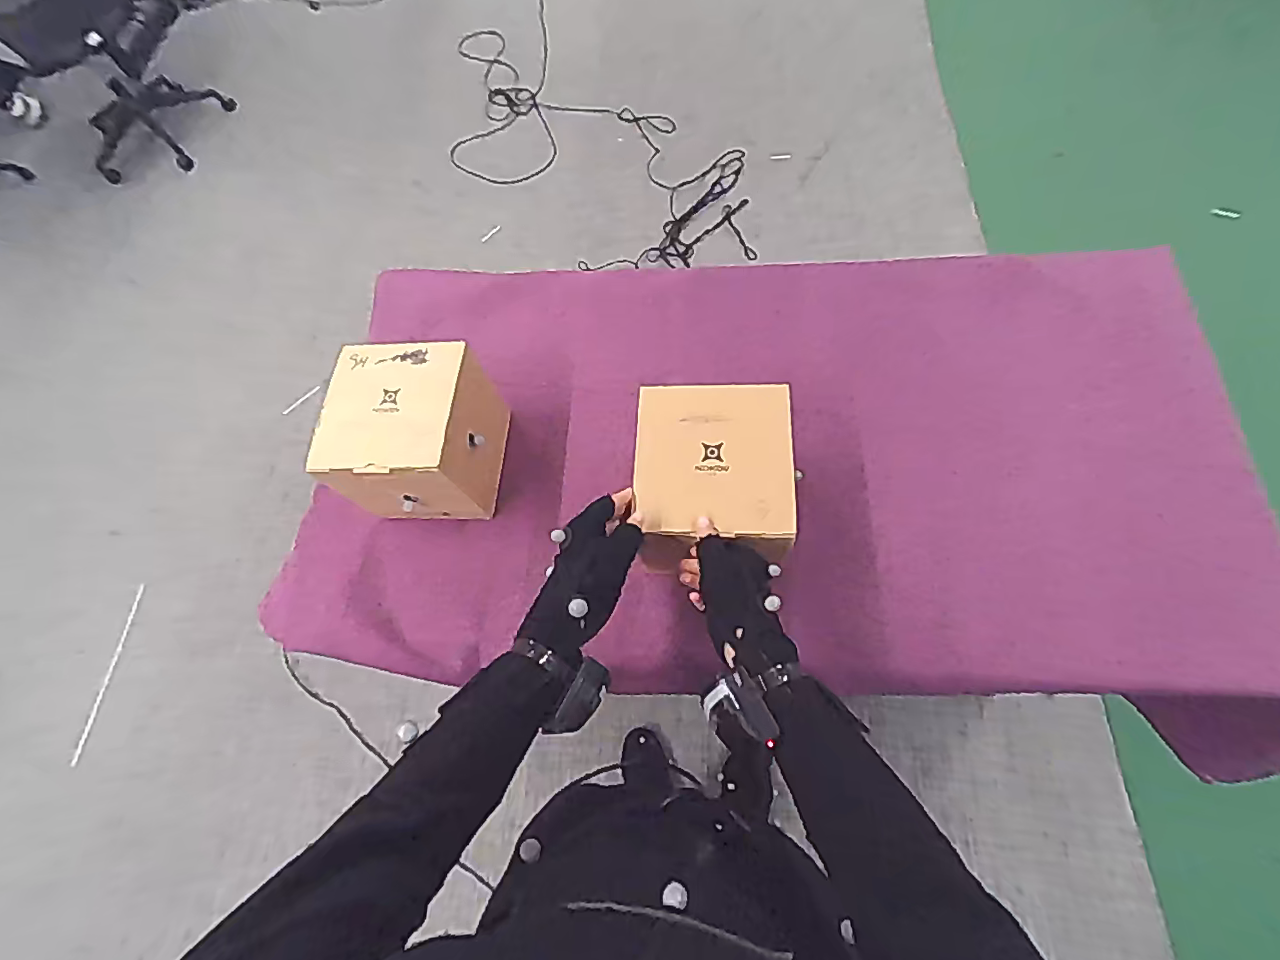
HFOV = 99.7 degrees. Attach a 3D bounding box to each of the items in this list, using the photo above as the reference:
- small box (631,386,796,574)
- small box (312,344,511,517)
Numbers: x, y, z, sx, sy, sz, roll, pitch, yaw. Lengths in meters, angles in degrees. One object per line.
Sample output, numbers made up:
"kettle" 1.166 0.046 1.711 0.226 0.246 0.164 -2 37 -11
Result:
"small box" 0.088 0.008 0.637 0.168 0.176 0.179 1 66 8
"small box" -0.283 -0.056 0.713 0.168 0.176 0.179 0 67 7
